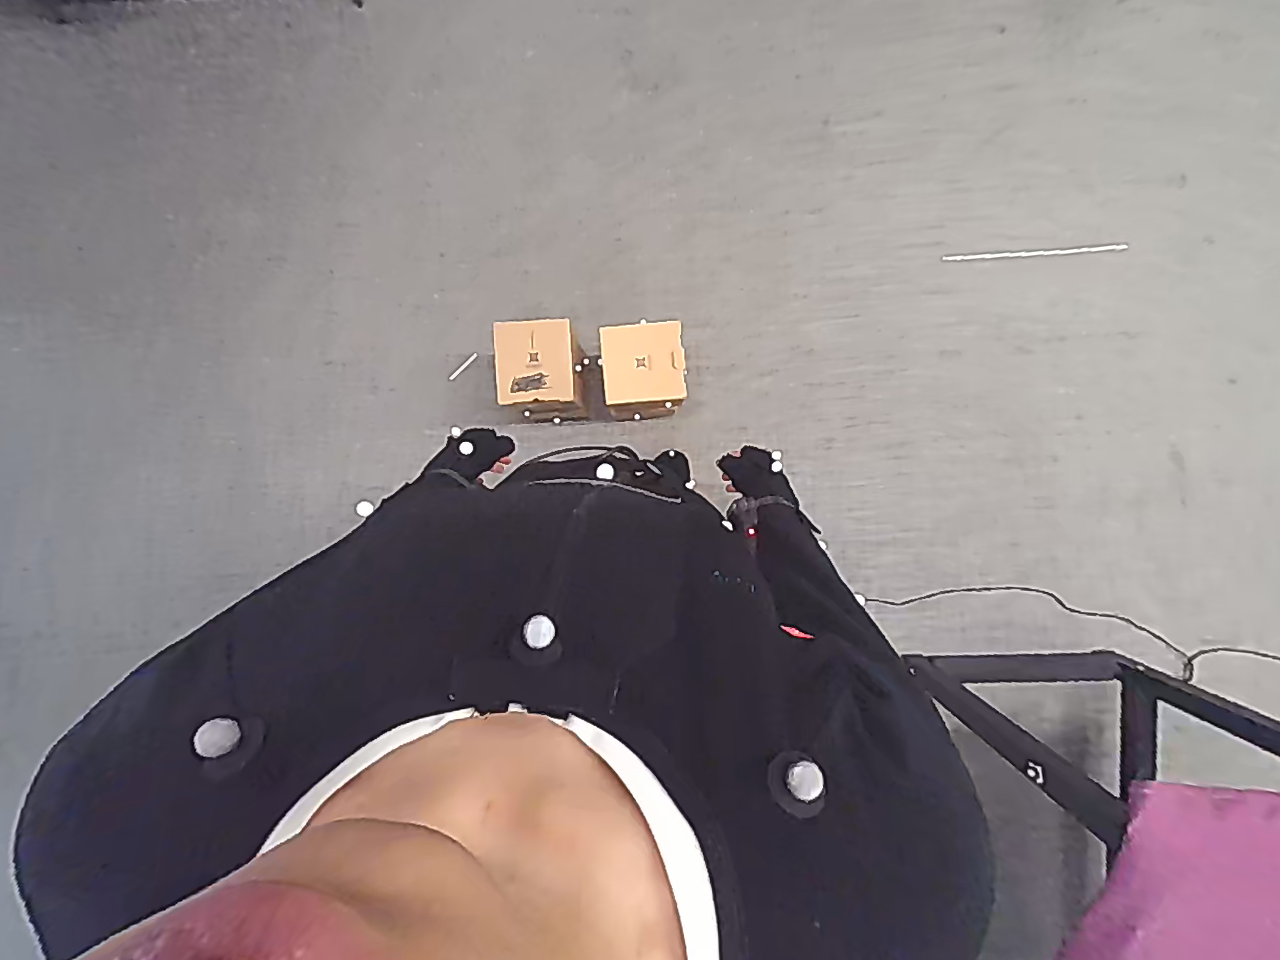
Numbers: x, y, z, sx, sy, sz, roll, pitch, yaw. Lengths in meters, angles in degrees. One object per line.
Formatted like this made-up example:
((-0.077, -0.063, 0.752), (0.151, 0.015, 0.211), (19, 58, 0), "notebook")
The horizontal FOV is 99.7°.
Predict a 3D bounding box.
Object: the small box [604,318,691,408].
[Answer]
((0.018, -0.257, 1.219), (0.179, 0.176, 0.168), (-5, 93, 1), "small box")

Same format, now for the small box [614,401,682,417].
((0.016, -0.259, 1.383), (0.168, 0.176, 0.179), (-4, 93, 2), "small box")
